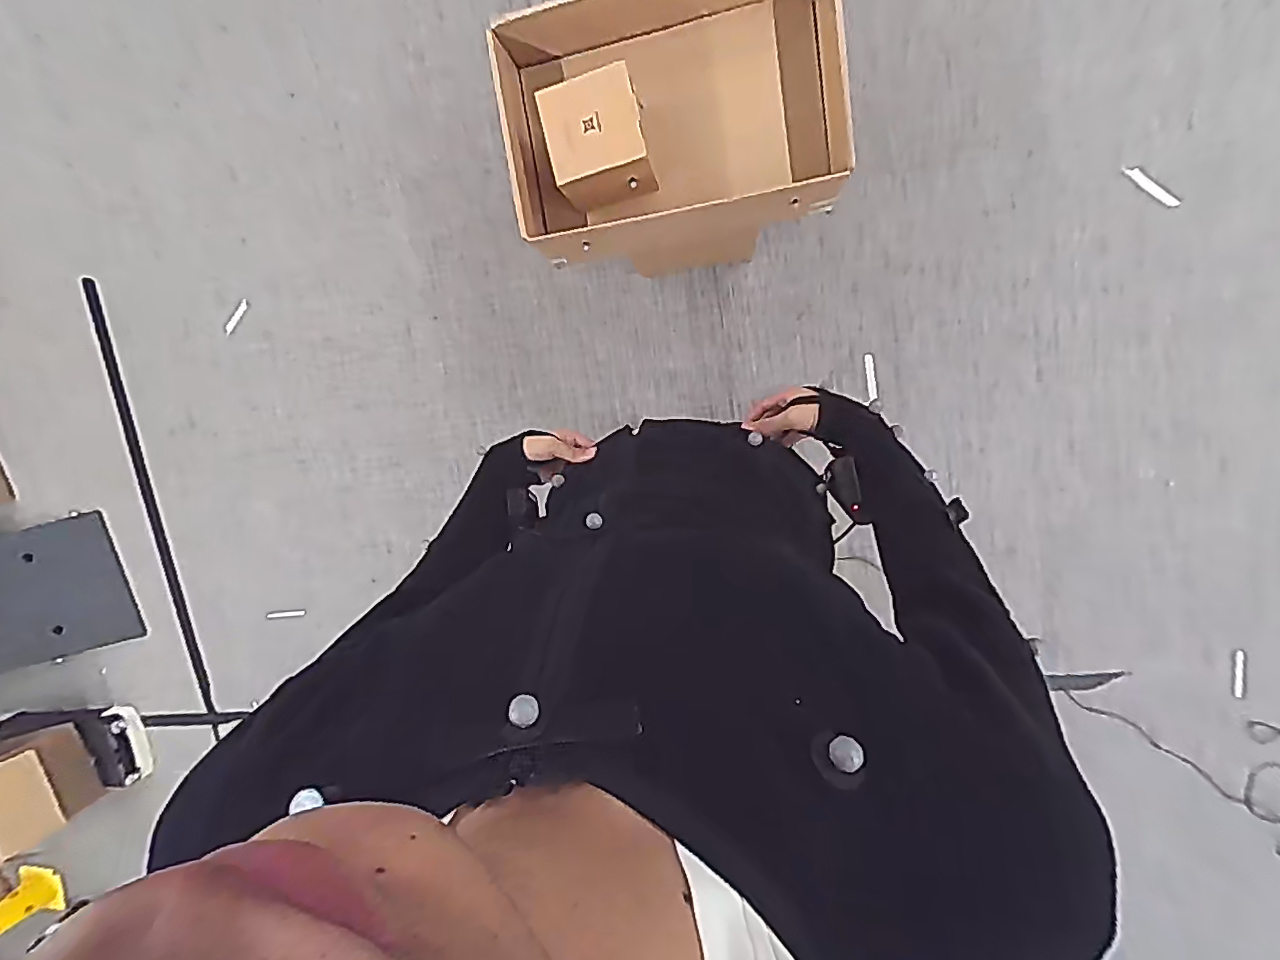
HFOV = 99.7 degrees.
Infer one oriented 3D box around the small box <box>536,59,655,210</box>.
[{"bbox_3d":[-0.073,-0.646,1.033,0.179,0.176,0.168,-12,97,12],"label":"small box"}]
